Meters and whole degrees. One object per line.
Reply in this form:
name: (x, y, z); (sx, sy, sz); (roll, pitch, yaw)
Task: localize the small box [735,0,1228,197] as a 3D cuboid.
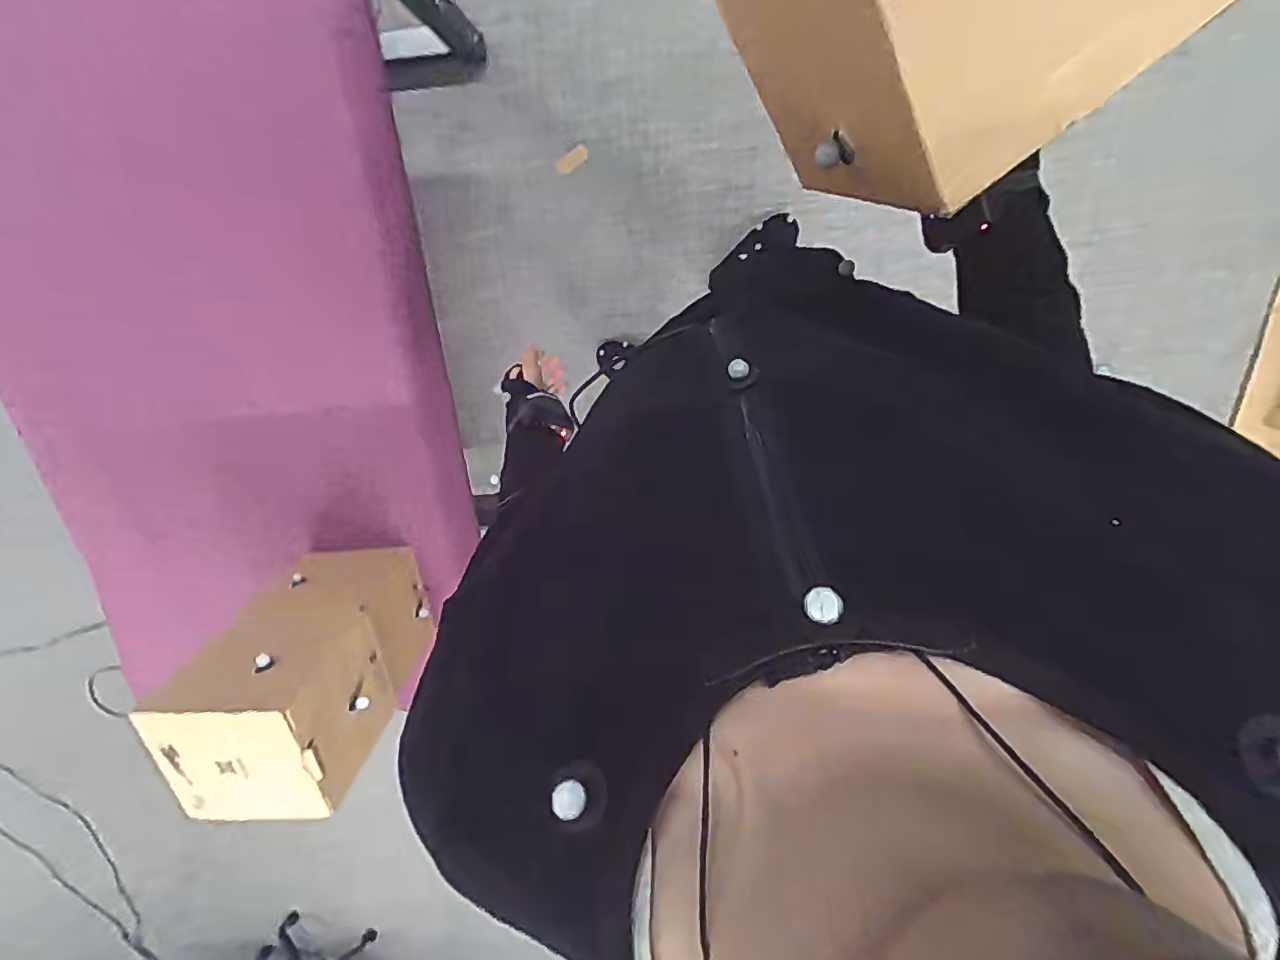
small box: (0.160, -0.283, 0.283); (0.168, 0.179, 0.176); (-36, 121, 11)

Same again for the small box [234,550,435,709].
small box: (-0.435, 0.218, 0.802); (0.179, 0.176, 0.168); (-5, 112, 4)

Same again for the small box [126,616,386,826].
small box: (-0.432, 0.278, 0.650); (0.179, 0.176, 0.168); (-3, 112, 3)
